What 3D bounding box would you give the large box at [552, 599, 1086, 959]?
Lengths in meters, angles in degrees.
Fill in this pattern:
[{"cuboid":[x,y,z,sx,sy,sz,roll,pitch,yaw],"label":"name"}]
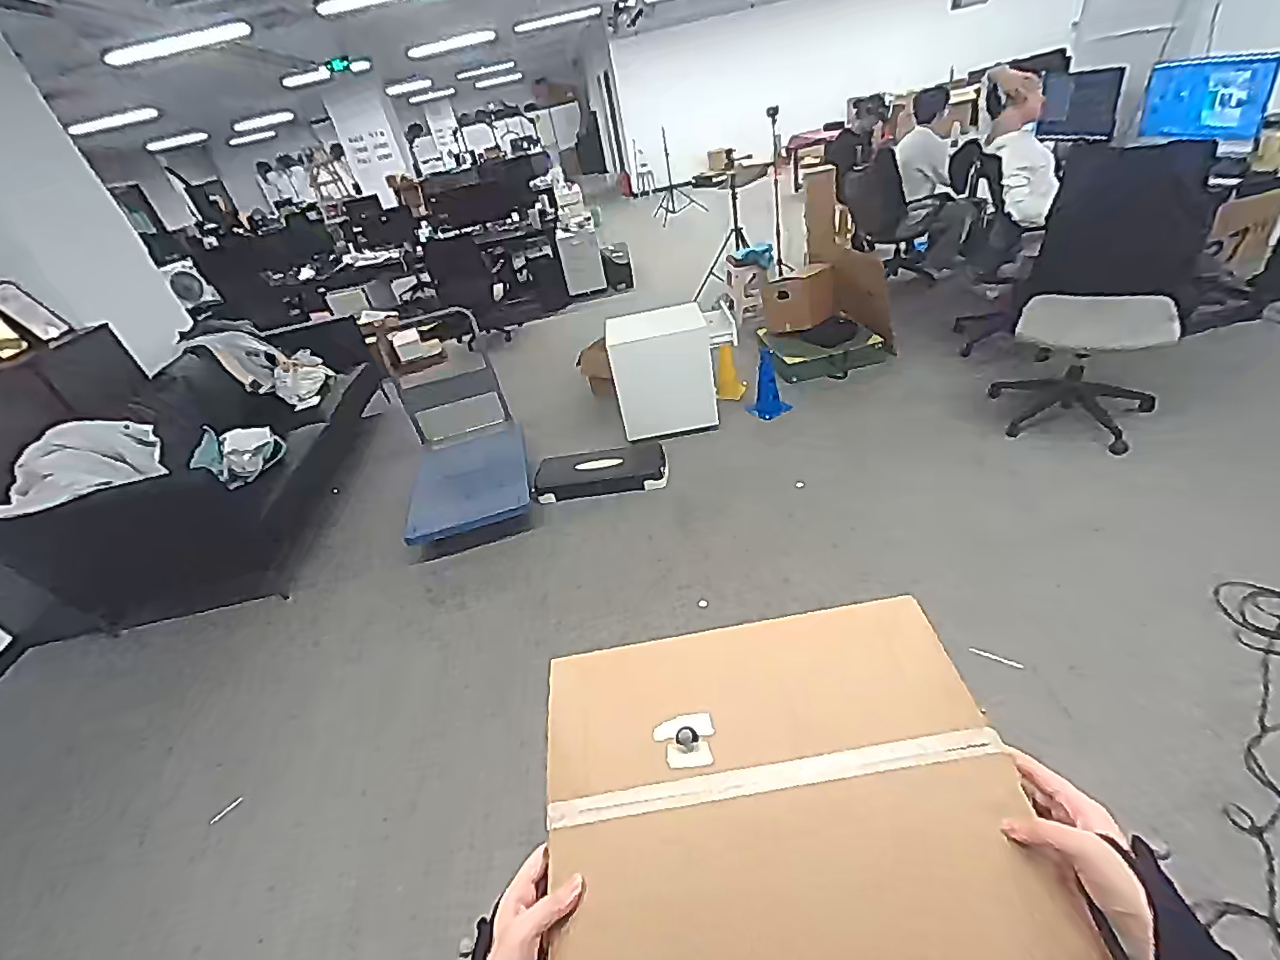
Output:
[{"cuboid":[0.142,0.381,0.603,0.408,0.320,0.320,-13,44,4],"label":"large box"}]
